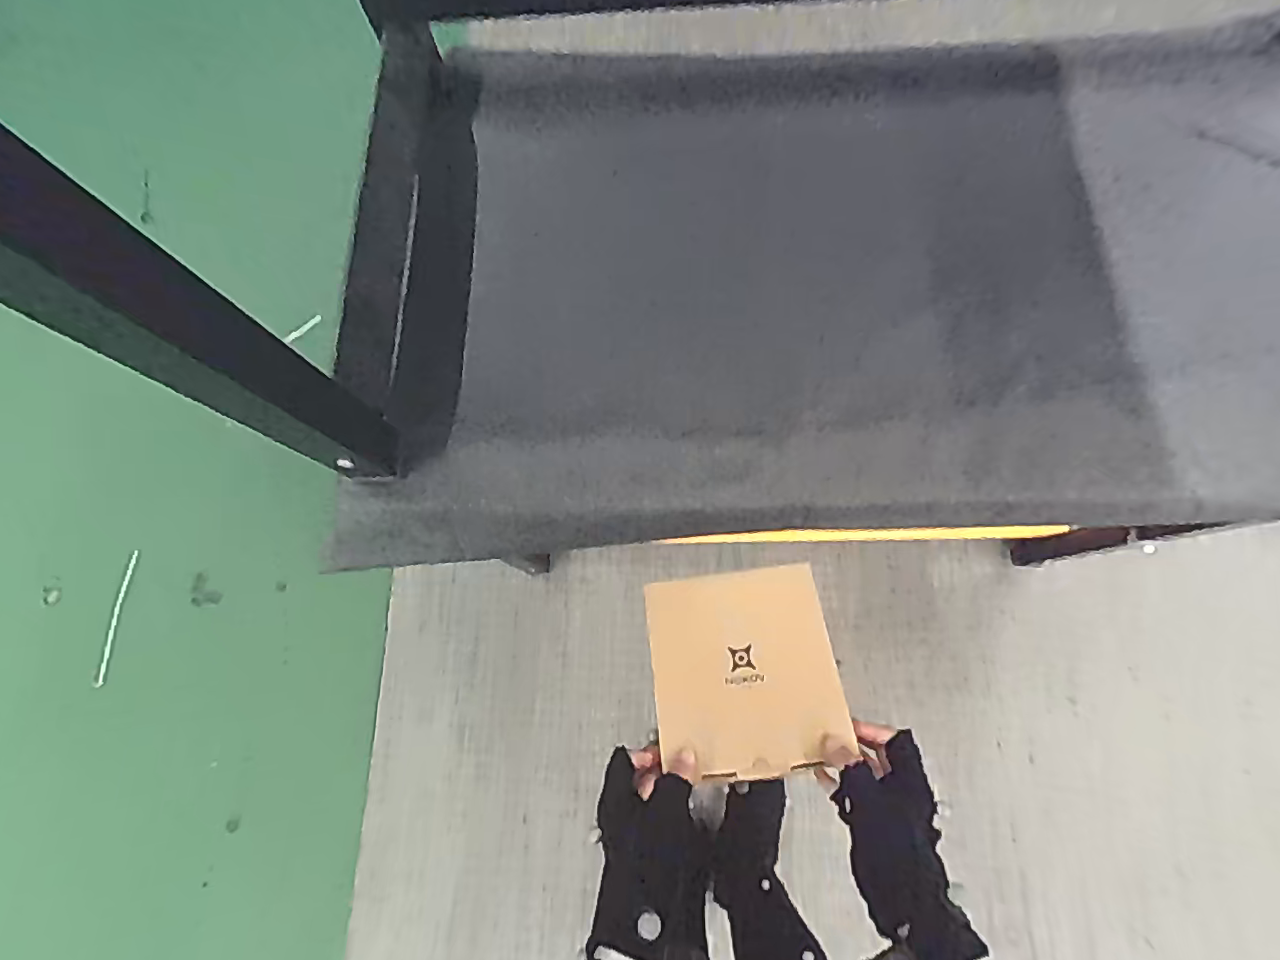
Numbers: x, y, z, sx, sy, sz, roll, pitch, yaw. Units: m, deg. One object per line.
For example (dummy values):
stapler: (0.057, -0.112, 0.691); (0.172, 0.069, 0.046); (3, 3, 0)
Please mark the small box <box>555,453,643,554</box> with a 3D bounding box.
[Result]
small box: (-0.079, 0.053, 1.121); (0.168, 0.176, 0.179); (-2, 75, 2)
